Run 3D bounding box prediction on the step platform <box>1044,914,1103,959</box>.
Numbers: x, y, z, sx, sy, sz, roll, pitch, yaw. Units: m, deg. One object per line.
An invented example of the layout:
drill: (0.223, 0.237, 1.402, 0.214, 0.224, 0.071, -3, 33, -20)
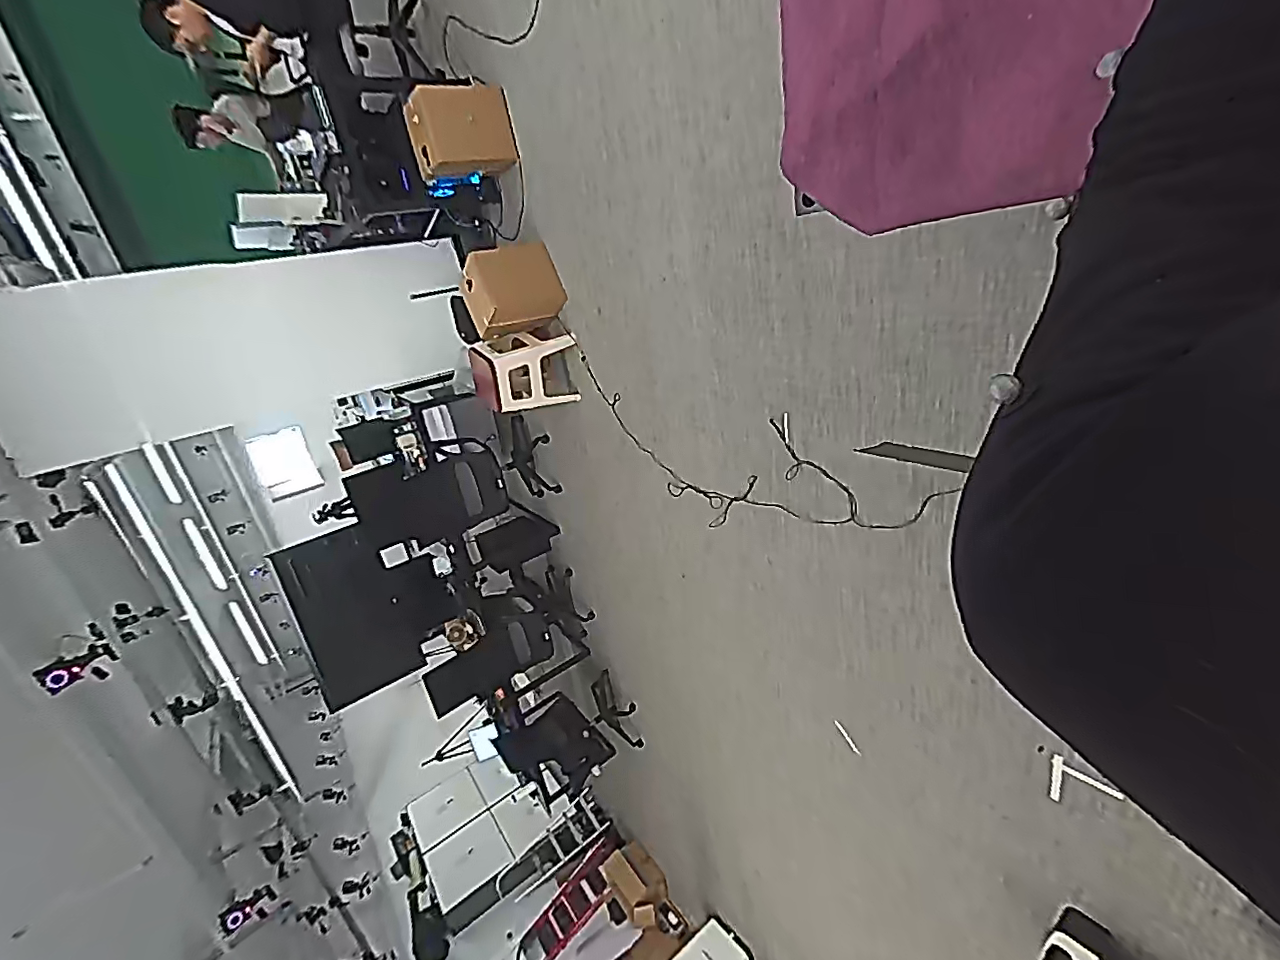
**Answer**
step platform: (1.463, 1.553, 1.414, 0.684, 0.204, 0.286, 19, 127, 51)
